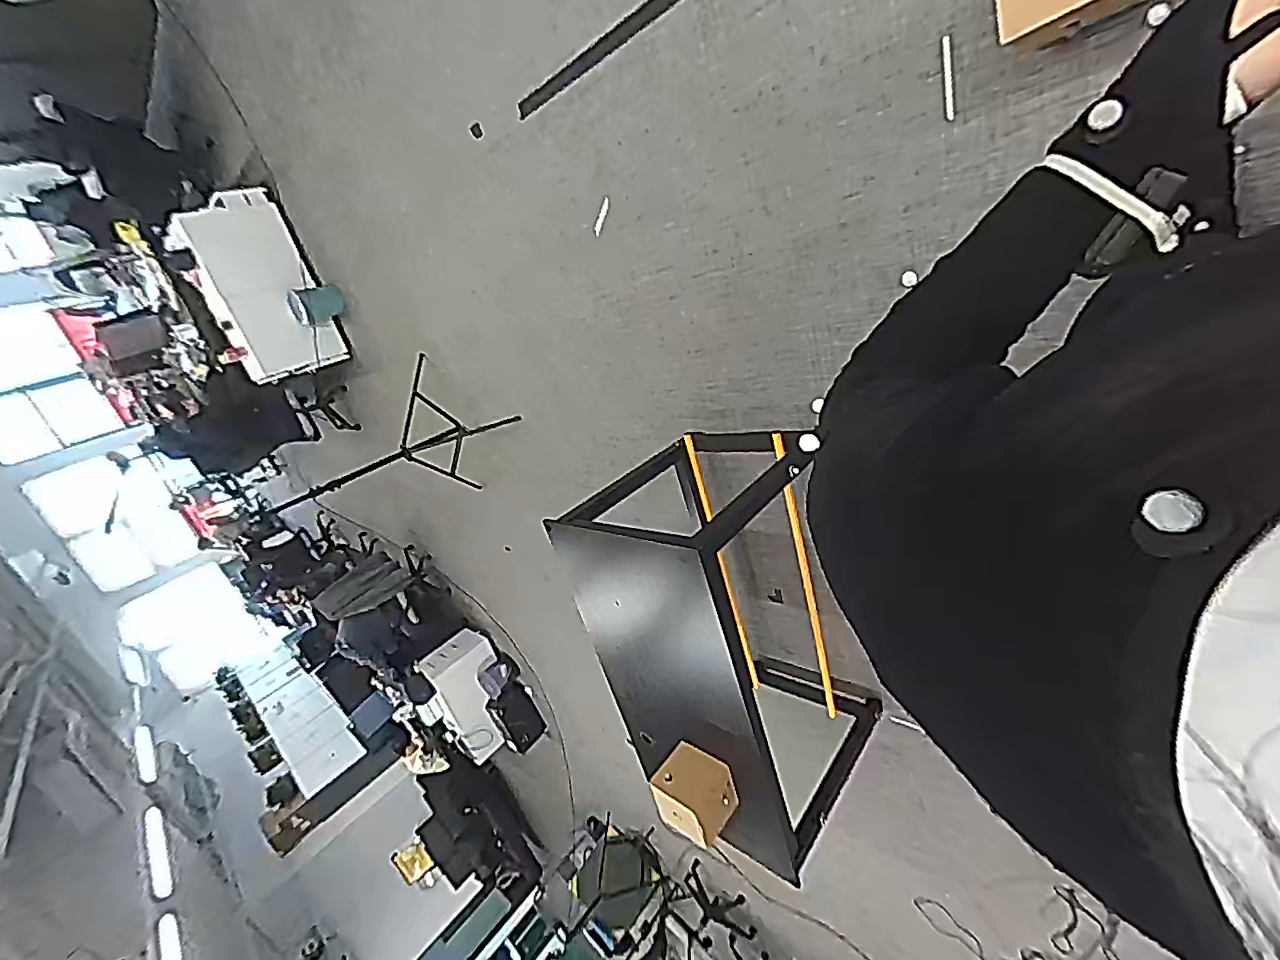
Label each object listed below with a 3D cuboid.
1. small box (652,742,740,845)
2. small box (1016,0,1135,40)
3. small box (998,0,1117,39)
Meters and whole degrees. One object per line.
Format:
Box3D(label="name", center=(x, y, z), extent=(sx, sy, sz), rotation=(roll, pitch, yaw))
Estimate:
Box3D(label="small box", center=(0.169, 0.913, 1.599), extent=(0.179, 0.176, 0.168), rotation=(7, 122, 45))
Box3D(label="small box", center=(0.729, -0.852, 0.878), extent=(0.179, 0.176, 0.168), rotation=(2, 119, 45))
Box3D(label="small box", center=(0.627, -0.775, 0.777), extent=(0.168, 0.176, 0.179), rotation=(1, 119, 49))
